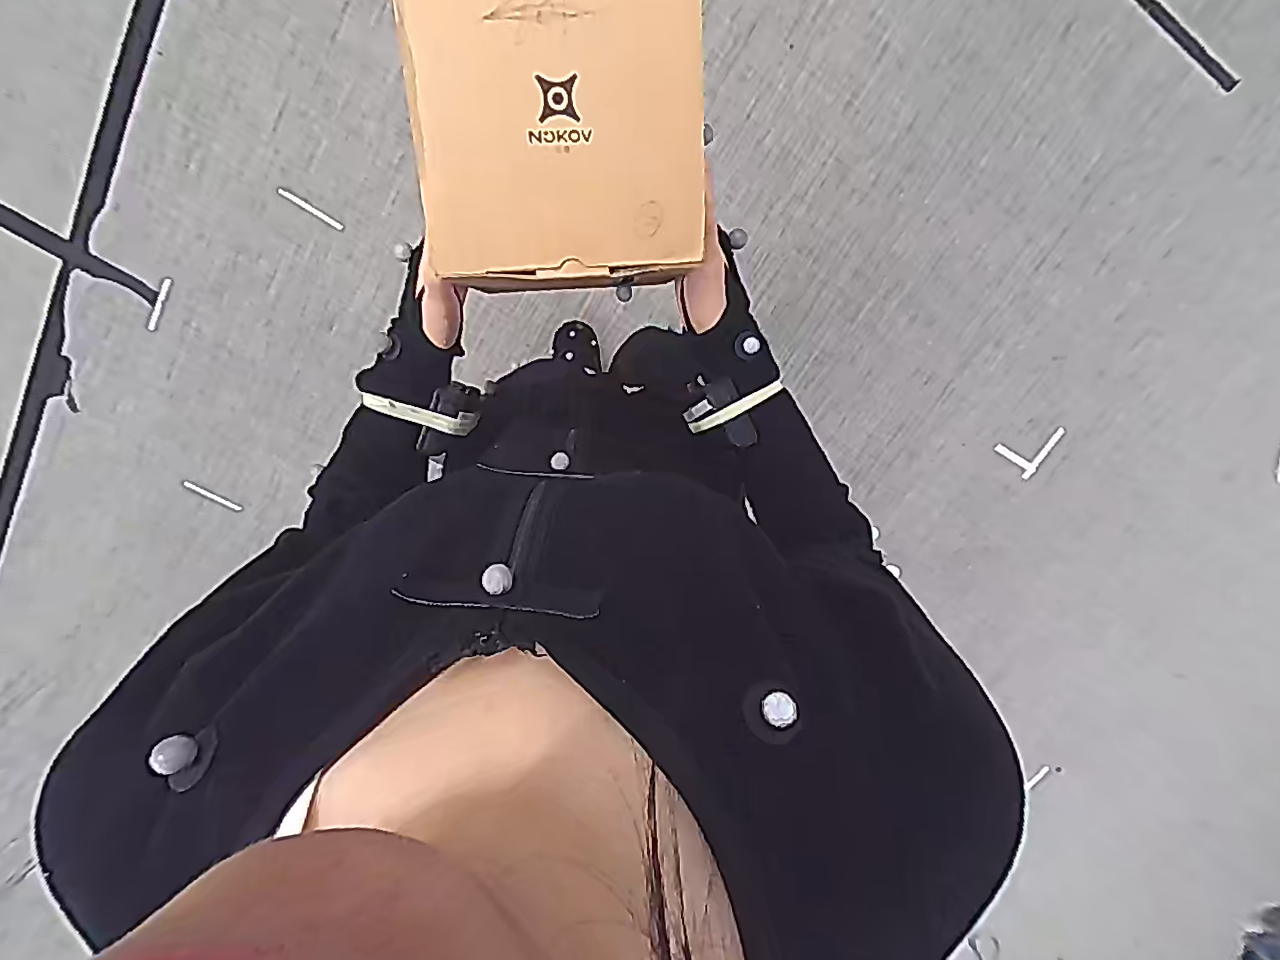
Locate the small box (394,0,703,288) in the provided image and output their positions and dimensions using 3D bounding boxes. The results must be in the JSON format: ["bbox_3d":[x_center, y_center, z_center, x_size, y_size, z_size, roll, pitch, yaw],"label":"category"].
[{"bbox_3d":[-0.053,-0.231,0.378,0.168,0.176,0.179,-5,106,-5],"label":"small box"}]
